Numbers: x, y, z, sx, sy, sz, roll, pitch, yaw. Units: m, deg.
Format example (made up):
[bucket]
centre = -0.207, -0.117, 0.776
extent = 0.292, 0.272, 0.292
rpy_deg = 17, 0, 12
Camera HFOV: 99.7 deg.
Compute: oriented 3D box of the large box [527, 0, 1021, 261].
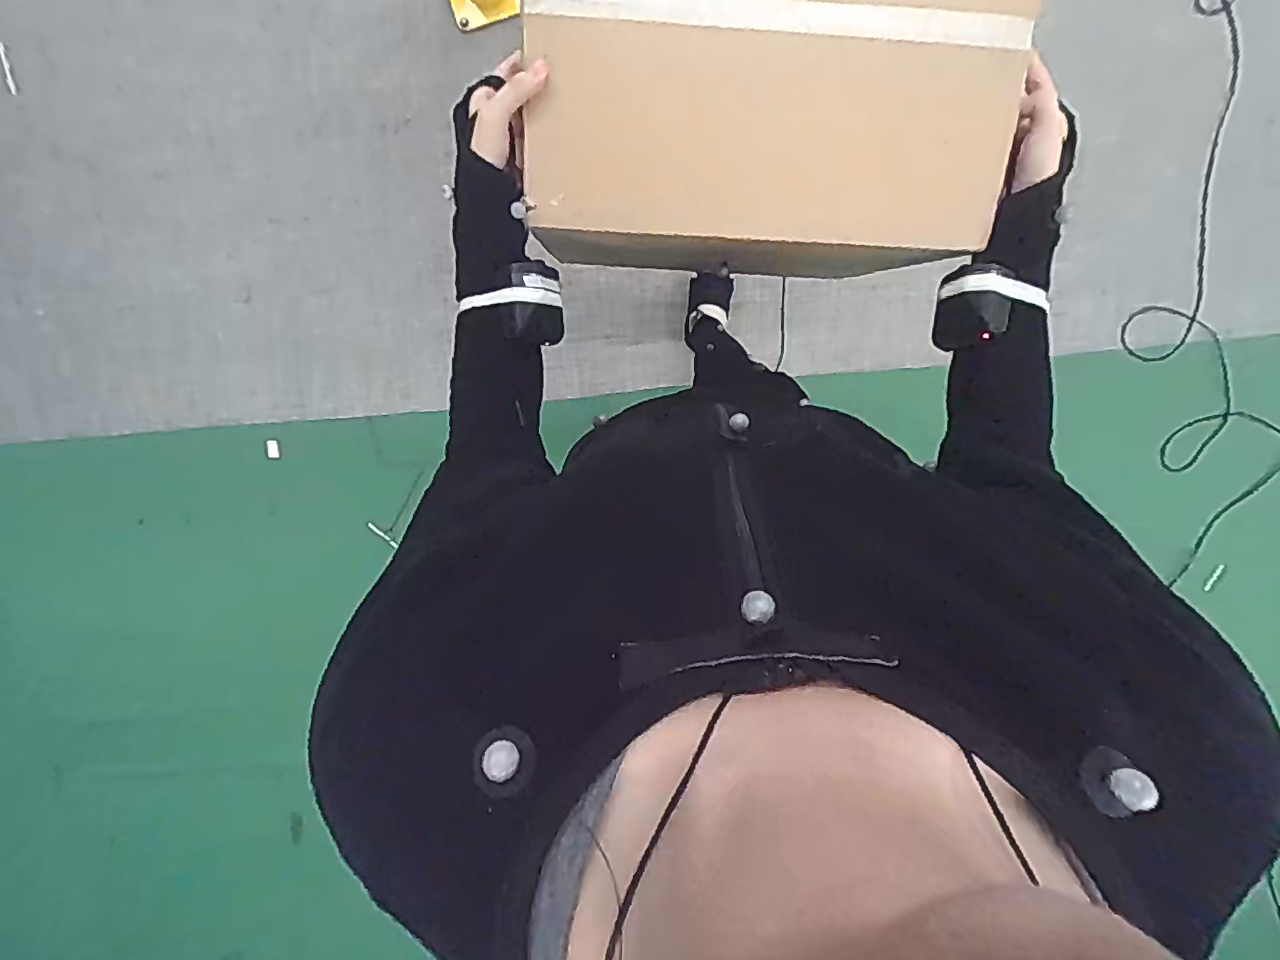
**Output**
[large box]
centre = 0.104, -0.413, 0.577
extent = 0.408, 0.320, 0.320
rpy_deg = 2, 106, -3
